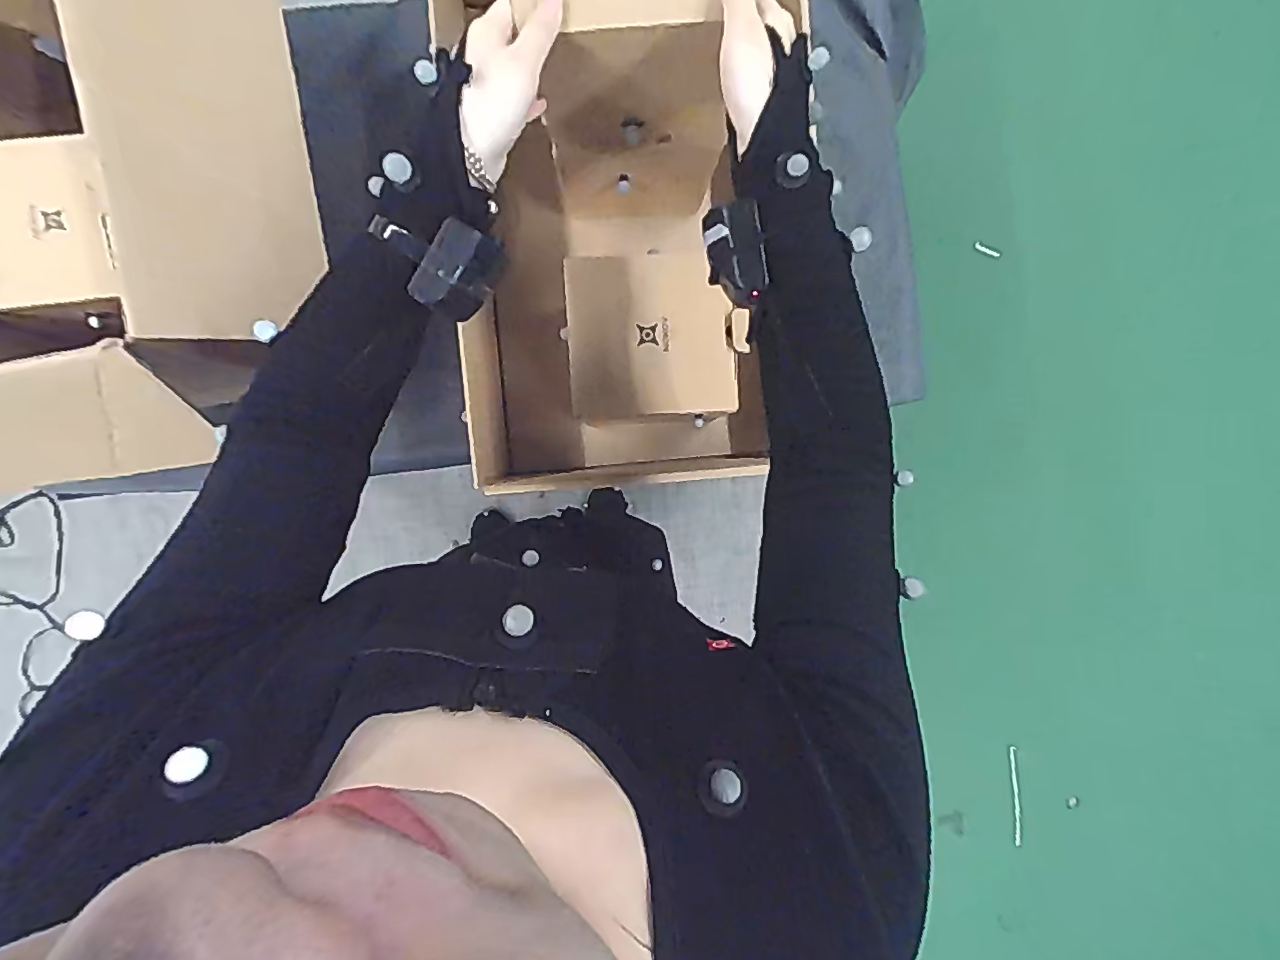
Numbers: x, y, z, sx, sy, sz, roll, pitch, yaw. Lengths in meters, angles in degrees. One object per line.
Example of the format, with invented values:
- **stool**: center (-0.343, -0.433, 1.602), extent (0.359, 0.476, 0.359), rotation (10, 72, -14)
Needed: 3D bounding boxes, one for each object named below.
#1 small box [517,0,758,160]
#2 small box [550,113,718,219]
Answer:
- **small box**: center (-0.002, -0.394, 0.438), extent (0.168, 0.176, 0.179), rotation (-2, 96, 2)
- **small box**: center (-0.008, -0.417, 0.622), extent (0.179, 0.176, 0.168), rotation (-4, 95, -1)
